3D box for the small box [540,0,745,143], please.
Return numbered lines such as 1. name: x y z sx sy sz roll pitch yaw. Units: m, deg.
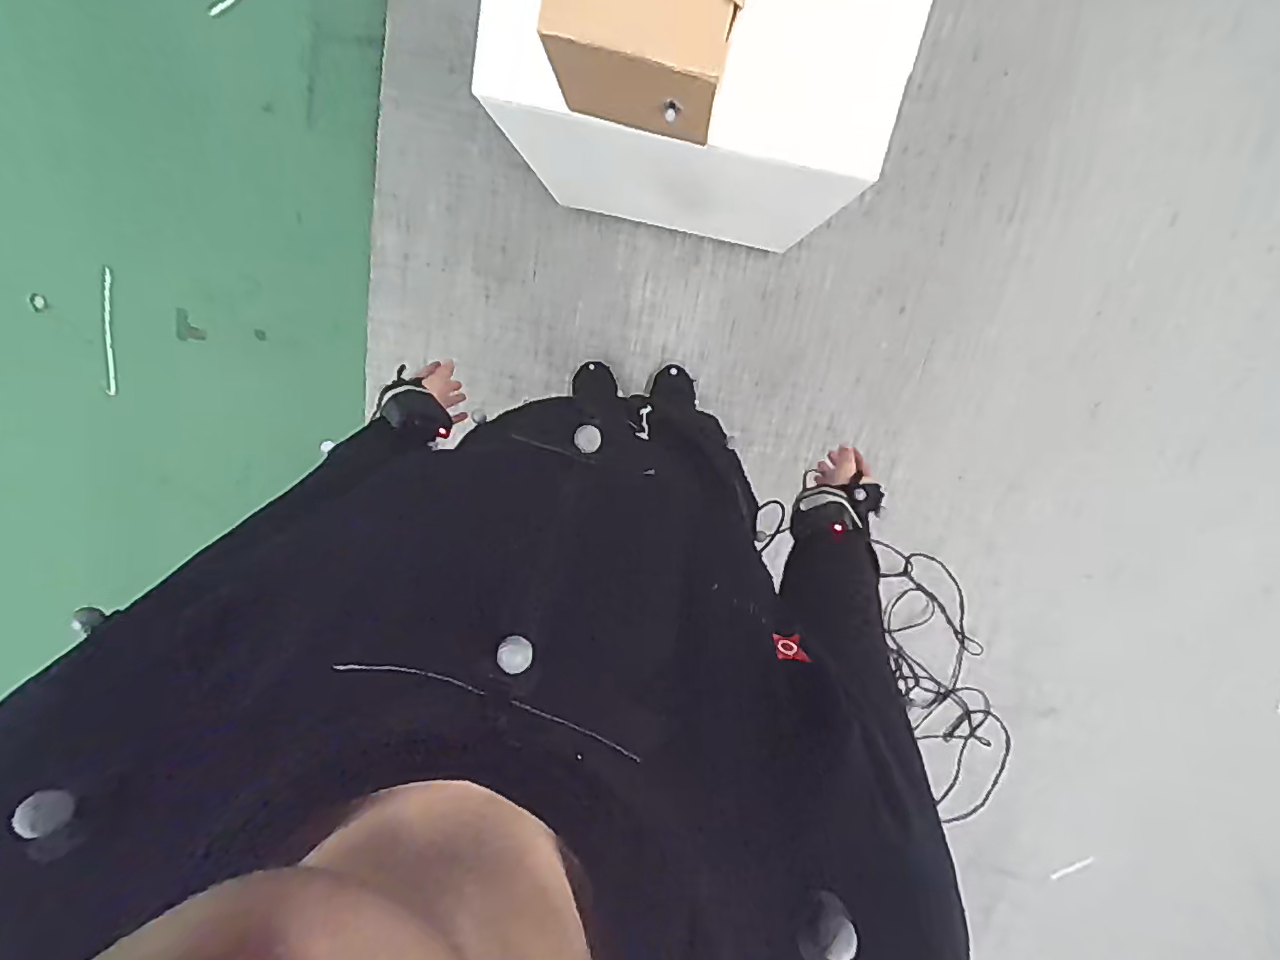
1. small box: 0.014 -0.478 0.557 0.179 0.176 0.168 14 102 0
